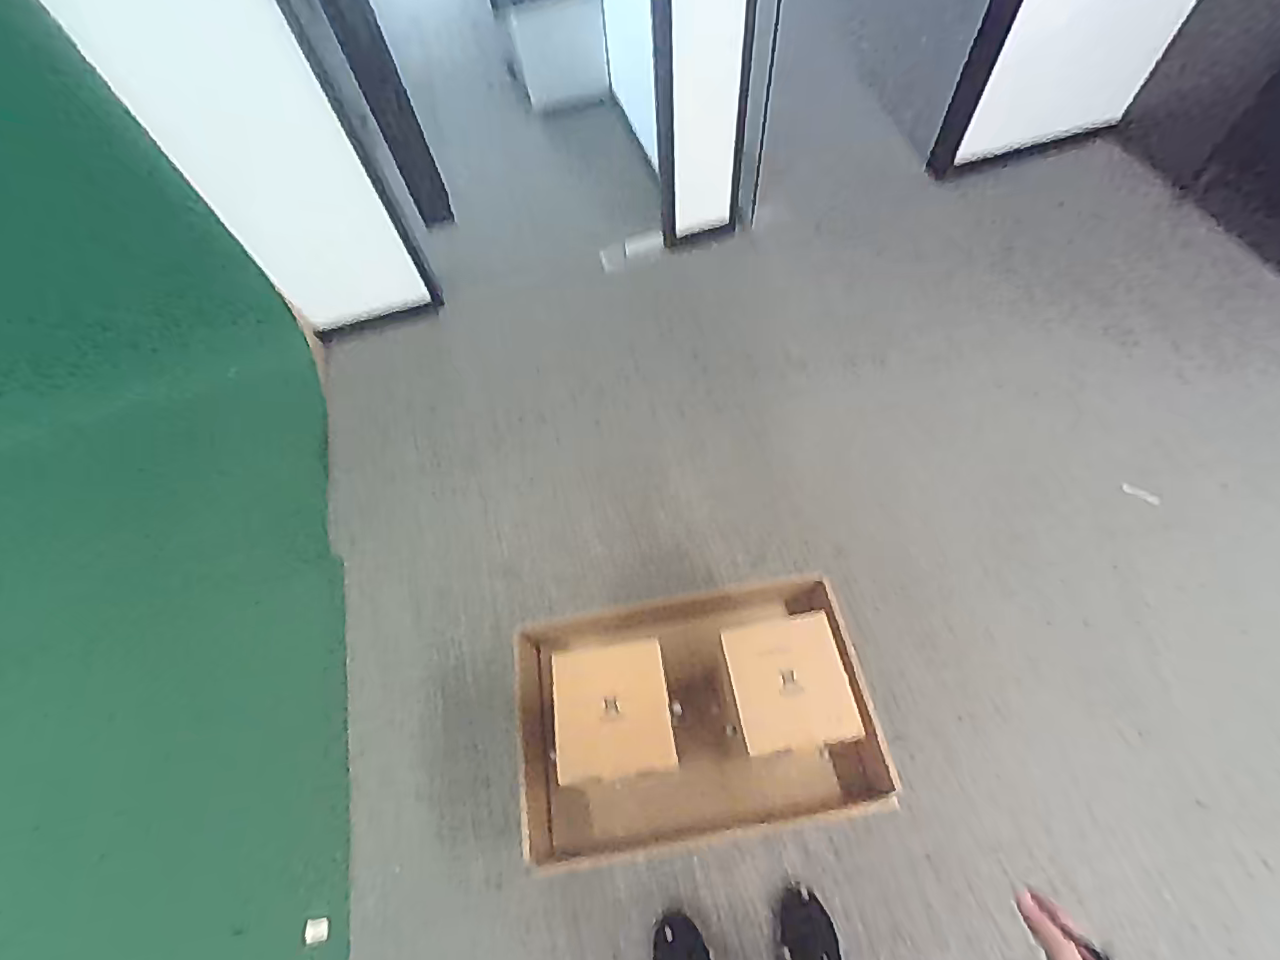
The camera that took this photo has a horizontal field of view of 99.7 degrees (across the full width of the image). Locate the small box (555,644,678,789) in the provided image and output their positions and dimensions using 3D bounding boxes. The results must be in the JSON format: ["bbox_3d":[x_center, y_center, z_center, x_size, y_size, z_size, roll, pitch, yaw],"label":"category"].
[{"bbox_3d":[-0.036,0.369,0.835,0.168,0.176,0.179,-7,60,-1],"label":"small box"}]

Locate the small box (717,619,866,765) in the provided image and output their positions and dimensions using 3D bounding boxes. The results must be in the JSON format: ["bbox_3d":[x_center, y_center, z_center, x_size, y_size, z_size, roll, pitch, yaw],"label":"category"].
[{"bbox_3d":[0.218,0.332,0.833,0.168,0.176,0.179,-9,59,-1],"label":"small box"}]
